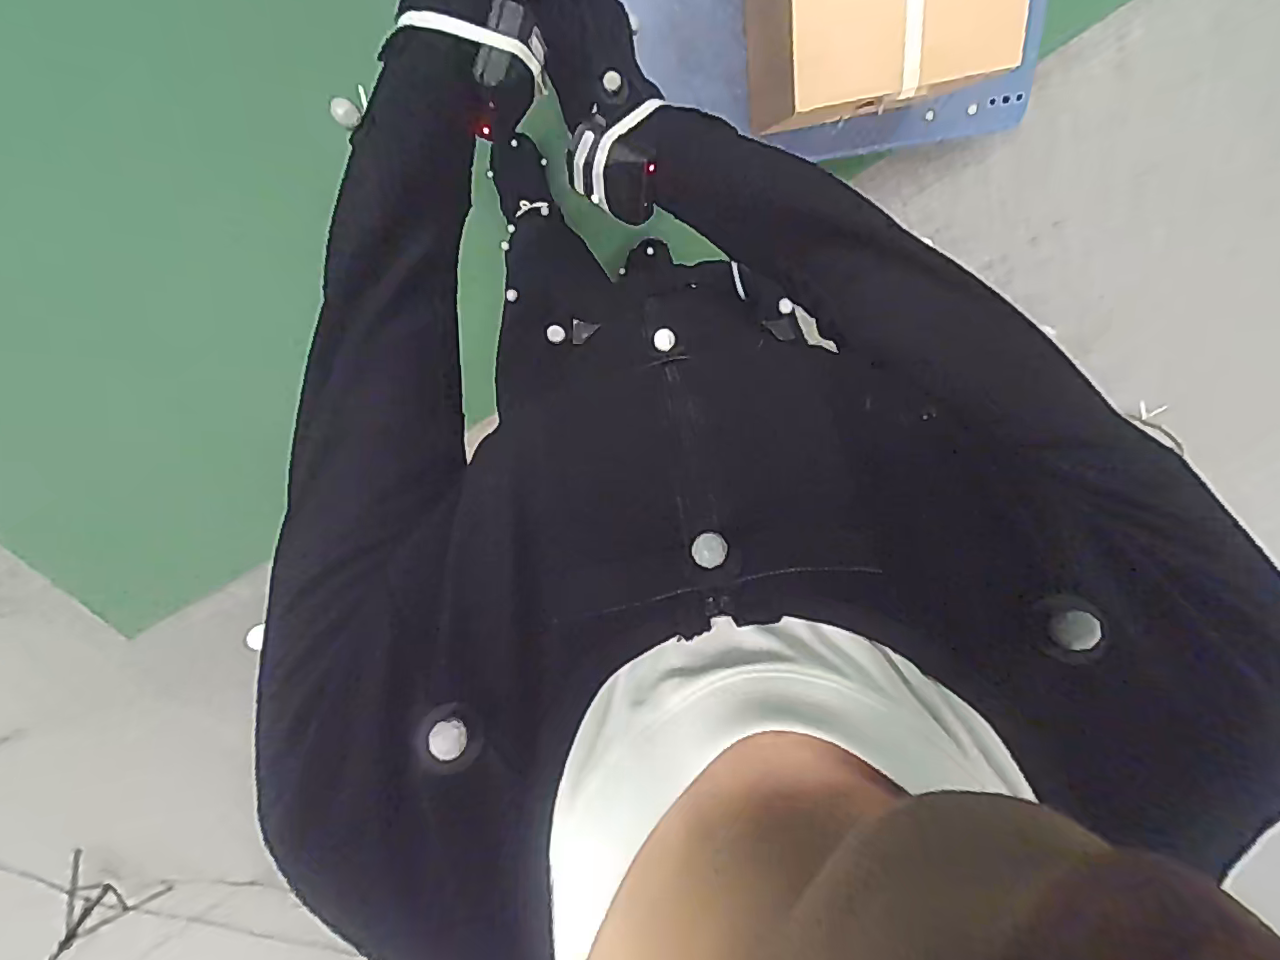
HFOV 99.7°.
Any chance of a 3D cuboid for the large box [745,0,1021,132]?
[{"bbox_3d":[0.332,-0.798,0.805,0.320,0.320,0.408,-10,116,3],"label":"large box"}]
